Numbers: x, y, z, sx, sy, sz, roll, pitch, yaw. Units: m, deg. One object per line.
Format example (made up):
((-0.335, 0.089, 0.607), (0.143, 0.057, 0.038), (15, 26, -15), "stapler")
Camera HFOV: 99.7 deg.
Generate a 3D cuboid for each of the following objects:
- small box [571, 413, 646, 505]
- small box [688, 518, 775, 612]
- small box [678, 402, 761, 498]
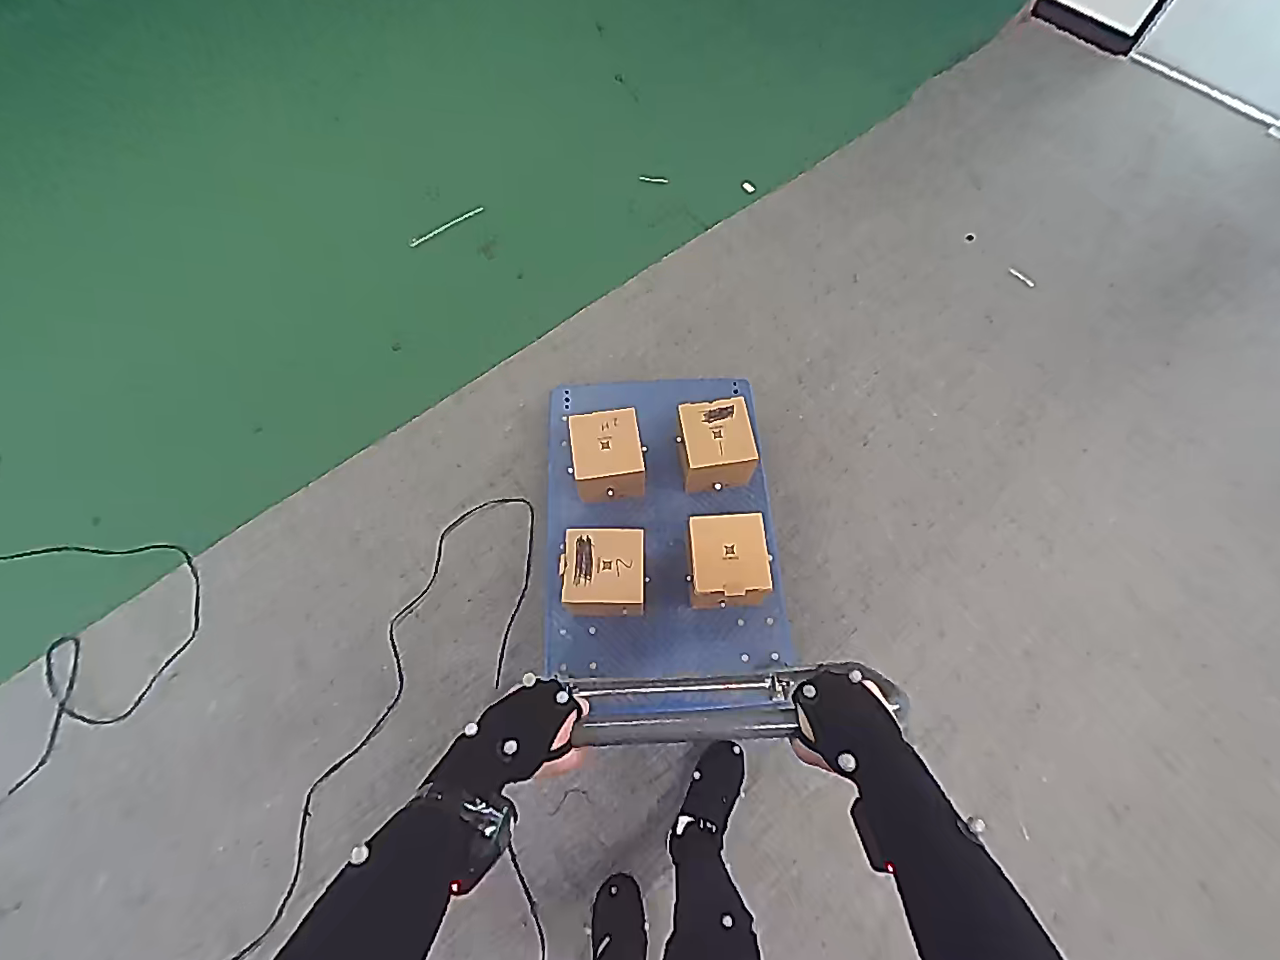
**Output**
((-0.076, -0.046, 1.358), (0.168, 0.176, 0.179), (-7, 67, -3), "small box")
((0.202, 0.199, 1.248), (0.168, 0.176, 0.179), (-3, 67, 0), "small box")
((0.192, -0.073, 1.366), (0.168, 0.176, 0.179), (-8, 67, -2), "small box")
